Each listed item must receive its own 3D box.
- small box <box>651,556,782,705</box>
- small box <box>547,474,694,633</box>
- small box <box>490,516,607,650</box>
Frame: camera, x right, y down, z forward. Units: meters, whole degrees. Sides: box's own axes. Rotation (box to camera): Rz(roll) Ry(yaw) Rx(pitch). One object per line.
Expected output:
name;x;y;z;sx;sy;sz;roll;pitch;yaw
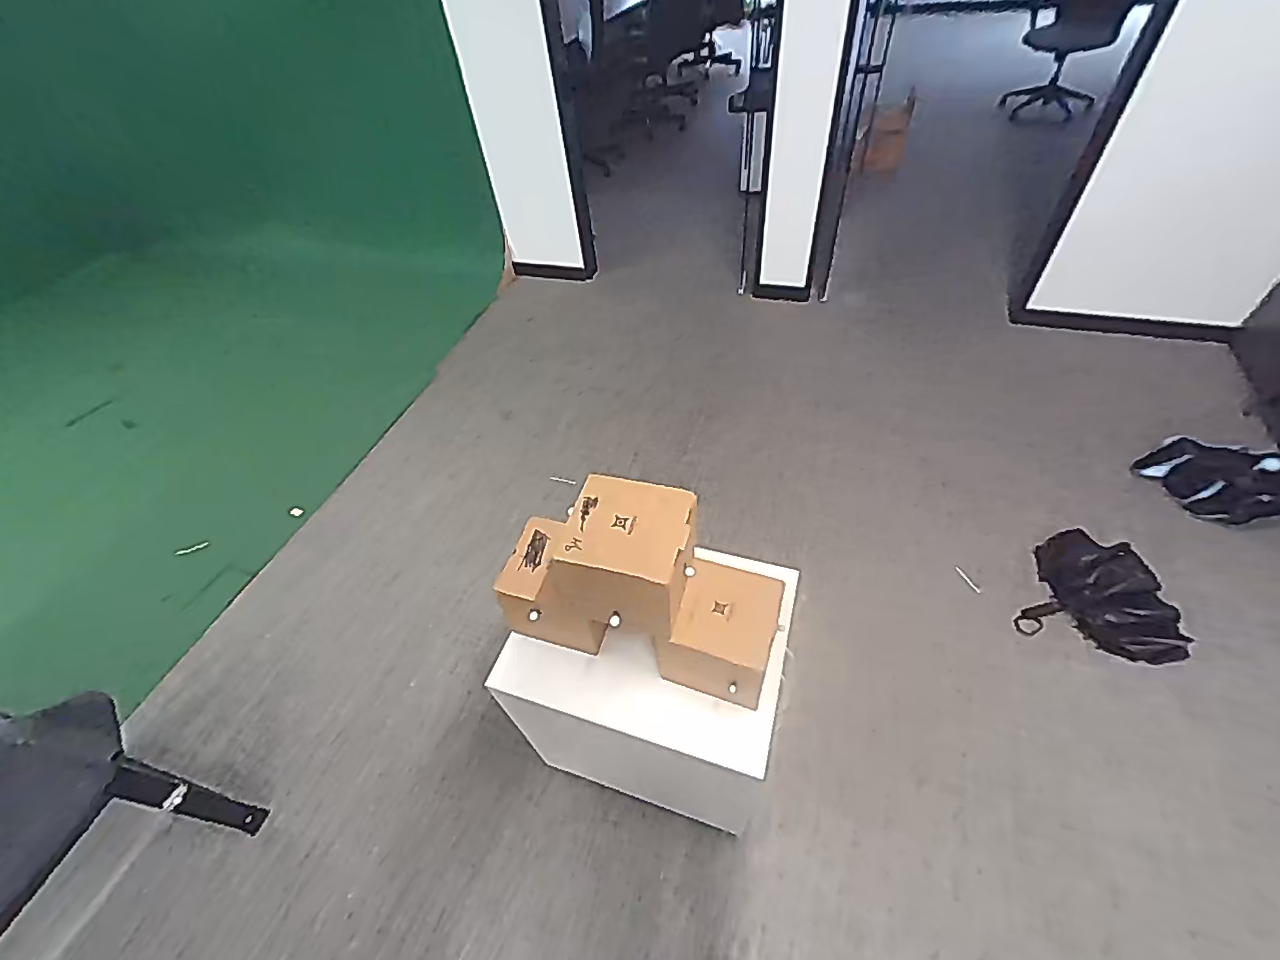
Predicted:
small box;0.133;0.260;0.922;0.179;0.176;0.168;12;50;18
small box;-0.021;0.118;0.843;0.179;0.176;0.168;11;50;13
small box;-0.146;0.194;1.003;0.179;0.176;0.168;12;52;13
